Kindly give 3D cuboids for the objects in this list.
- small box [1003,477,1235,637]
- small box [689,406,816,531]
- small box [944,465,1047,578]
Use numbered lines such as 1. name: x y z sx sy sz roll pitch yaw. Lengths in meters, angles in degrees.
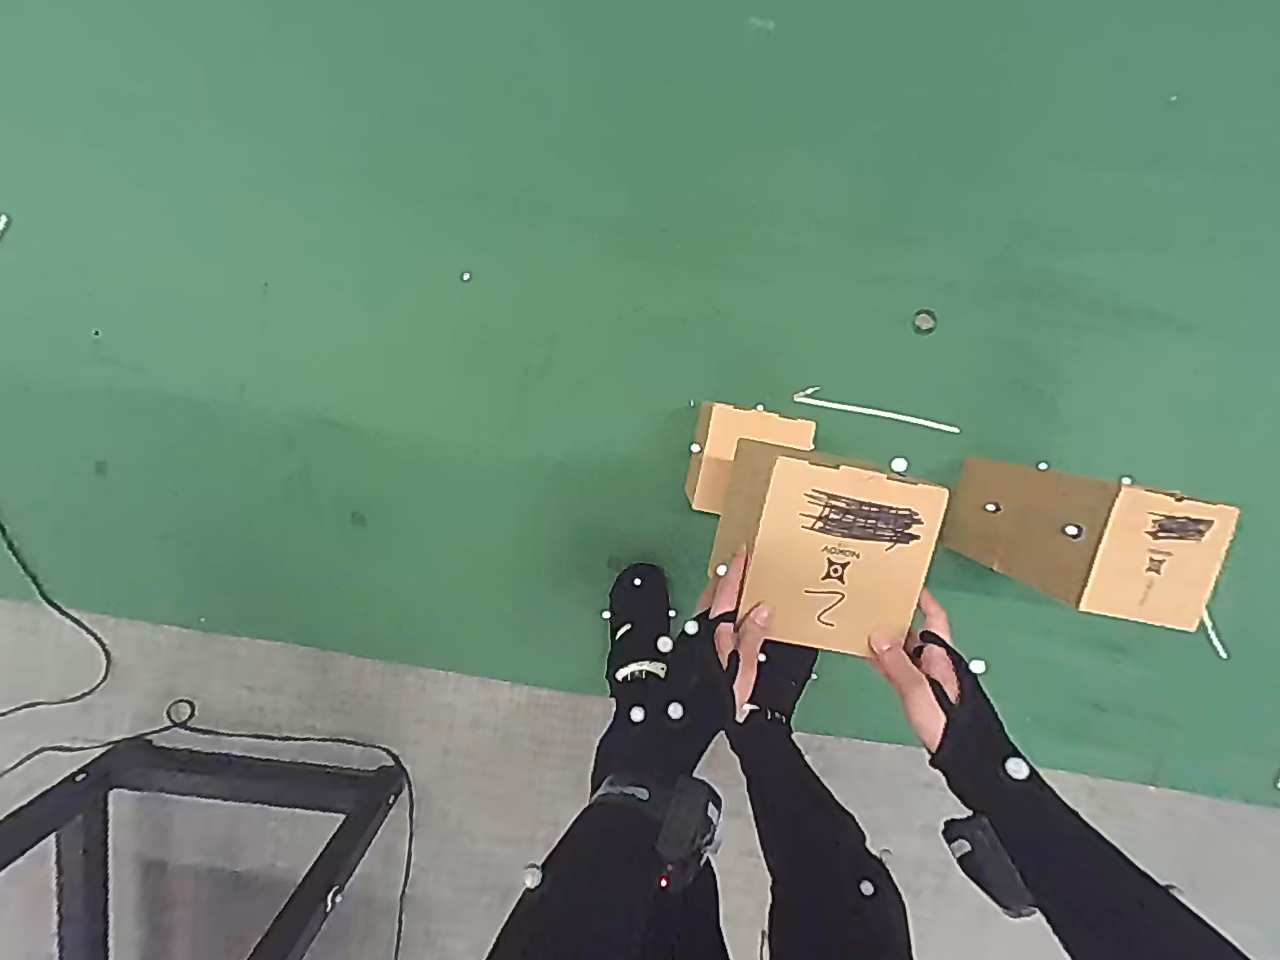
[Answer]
1. small box: 0.678 0.100 0.791 0.168 0.176 0.179 12 98 -2
2. small box: 0.183 -0.026 0.938 0.168 0.176 0.179 11 97 -2
3. small box: 0.675 0.078 0.954 0.168 0.176 0.179 12 98 -2
